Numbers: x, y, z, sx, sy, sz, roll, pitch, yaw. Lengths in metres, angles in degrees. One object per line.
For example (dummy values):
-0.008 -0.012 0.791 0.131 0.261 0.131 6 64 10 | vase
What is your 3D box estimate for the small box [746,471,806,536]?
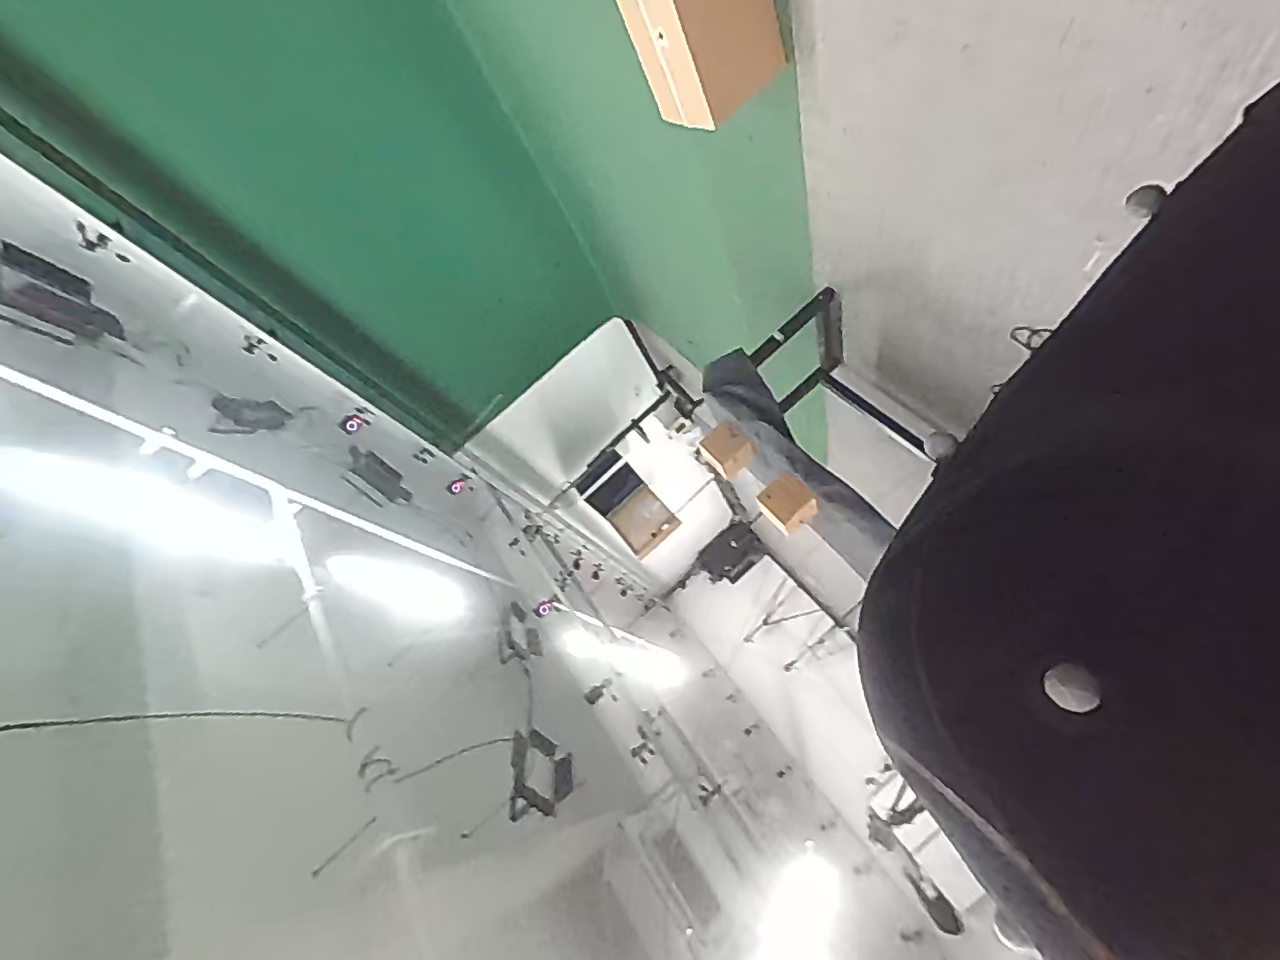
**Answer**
0.566 0.095 2.229 0.179 0.176 0.168 48 179 31 | small box
